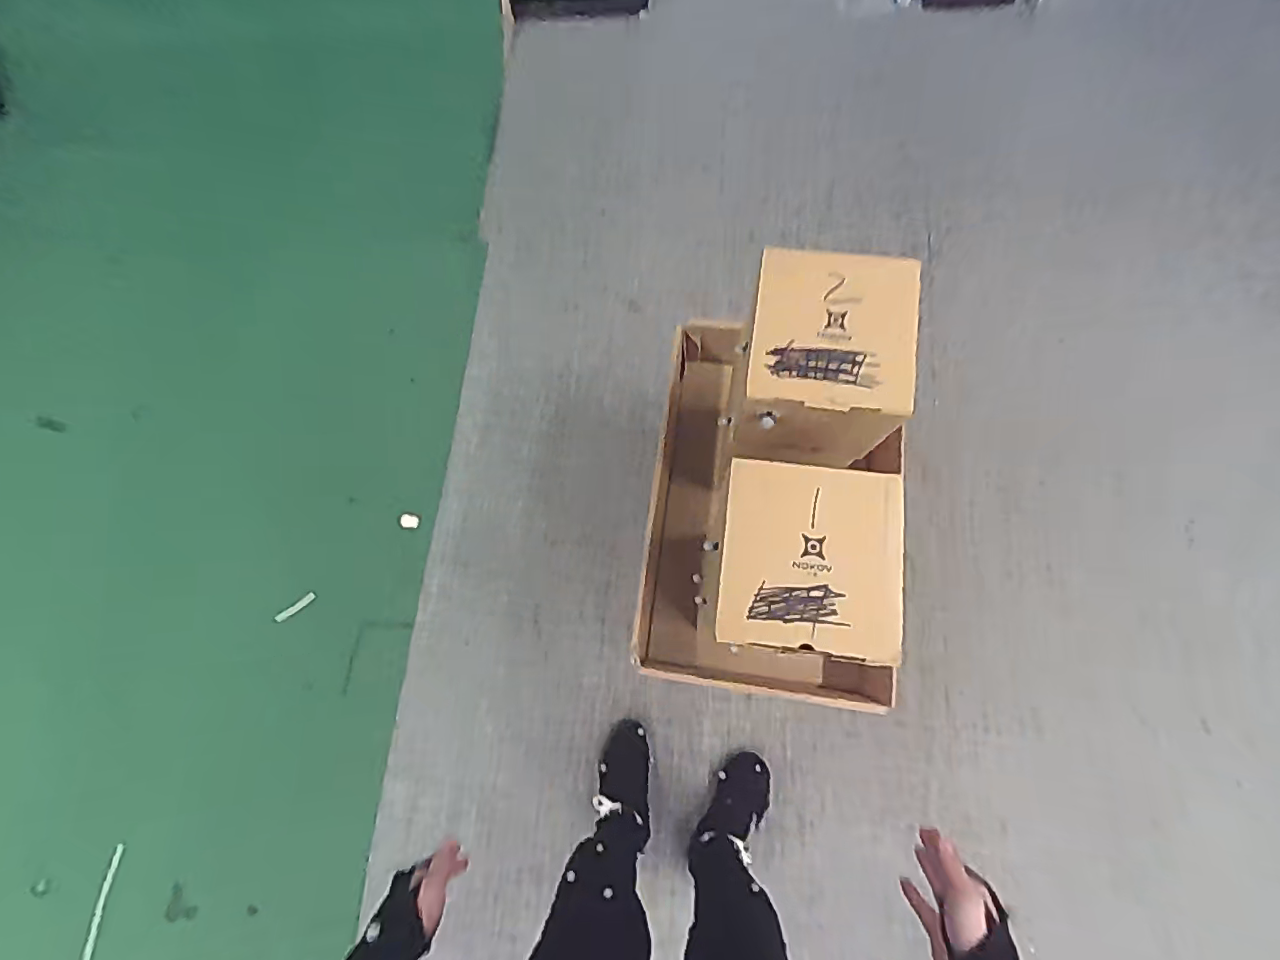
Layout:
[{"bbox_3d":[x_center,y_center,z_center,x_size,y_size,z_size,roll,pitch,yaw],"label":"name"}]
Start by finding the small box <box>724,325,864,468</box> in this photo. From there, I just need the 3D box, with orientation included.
[{"bbox_3d":[0.218,-0.105,0.802,0.168,0.176,0.179,7,78,6],"label":"small box"}]

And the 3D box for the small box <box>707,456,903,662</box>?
[{"bbox_3d":[0.164,0.089,0.582,0.168,0.176,0.179,7,75,5],"label":"small box"}]
